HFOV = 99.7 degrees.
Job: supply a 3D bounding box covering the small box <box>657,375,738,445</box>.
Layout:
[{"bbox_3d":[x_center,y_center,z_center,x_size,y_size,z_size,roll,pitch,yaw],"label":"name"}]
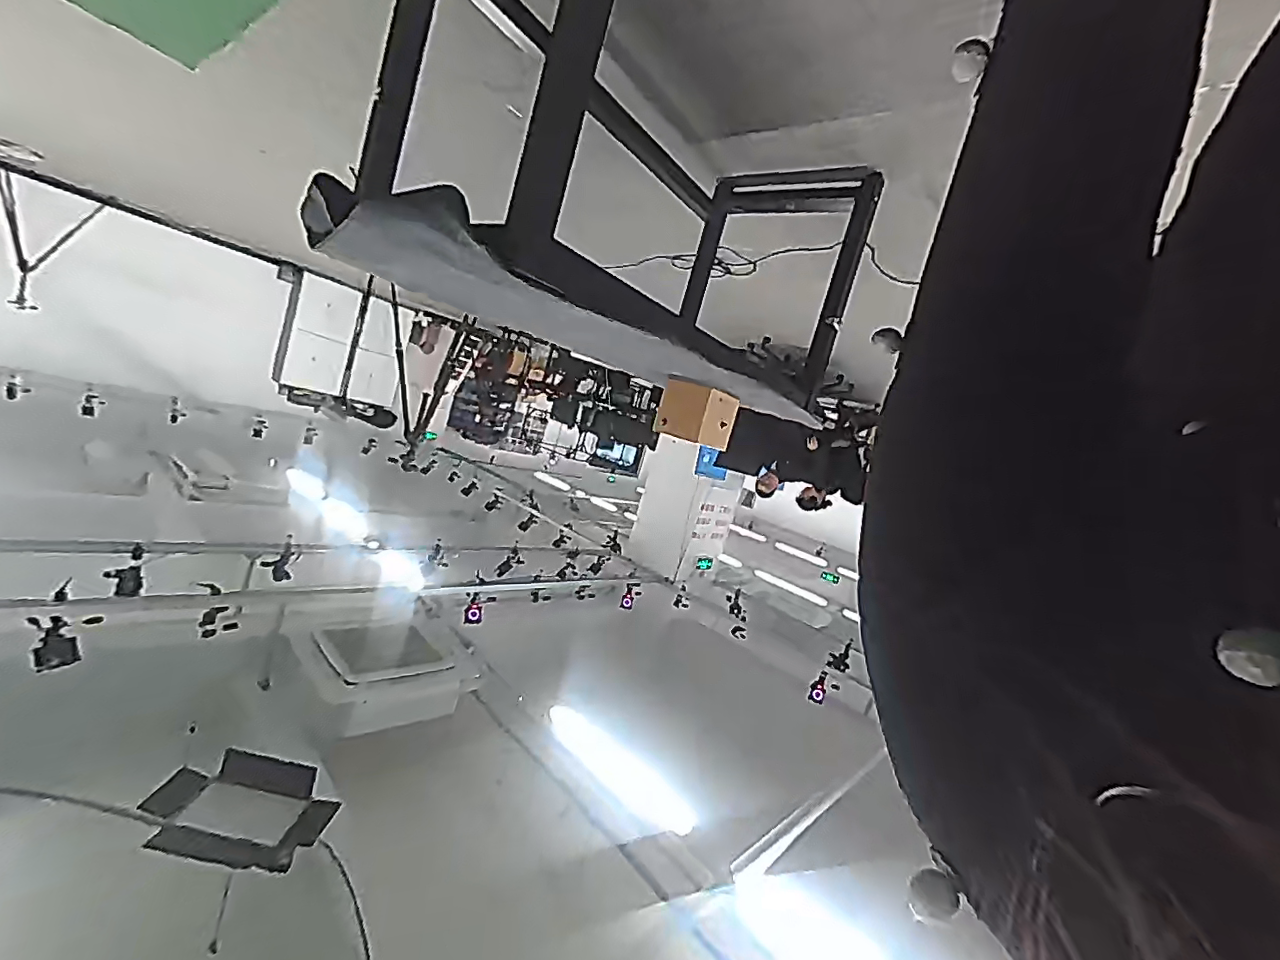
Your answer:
[{"bbox_3d":[0.181,-0.214,1.644,0.179,0.176,0.168,22,-171,39],"label":"small box"}]
